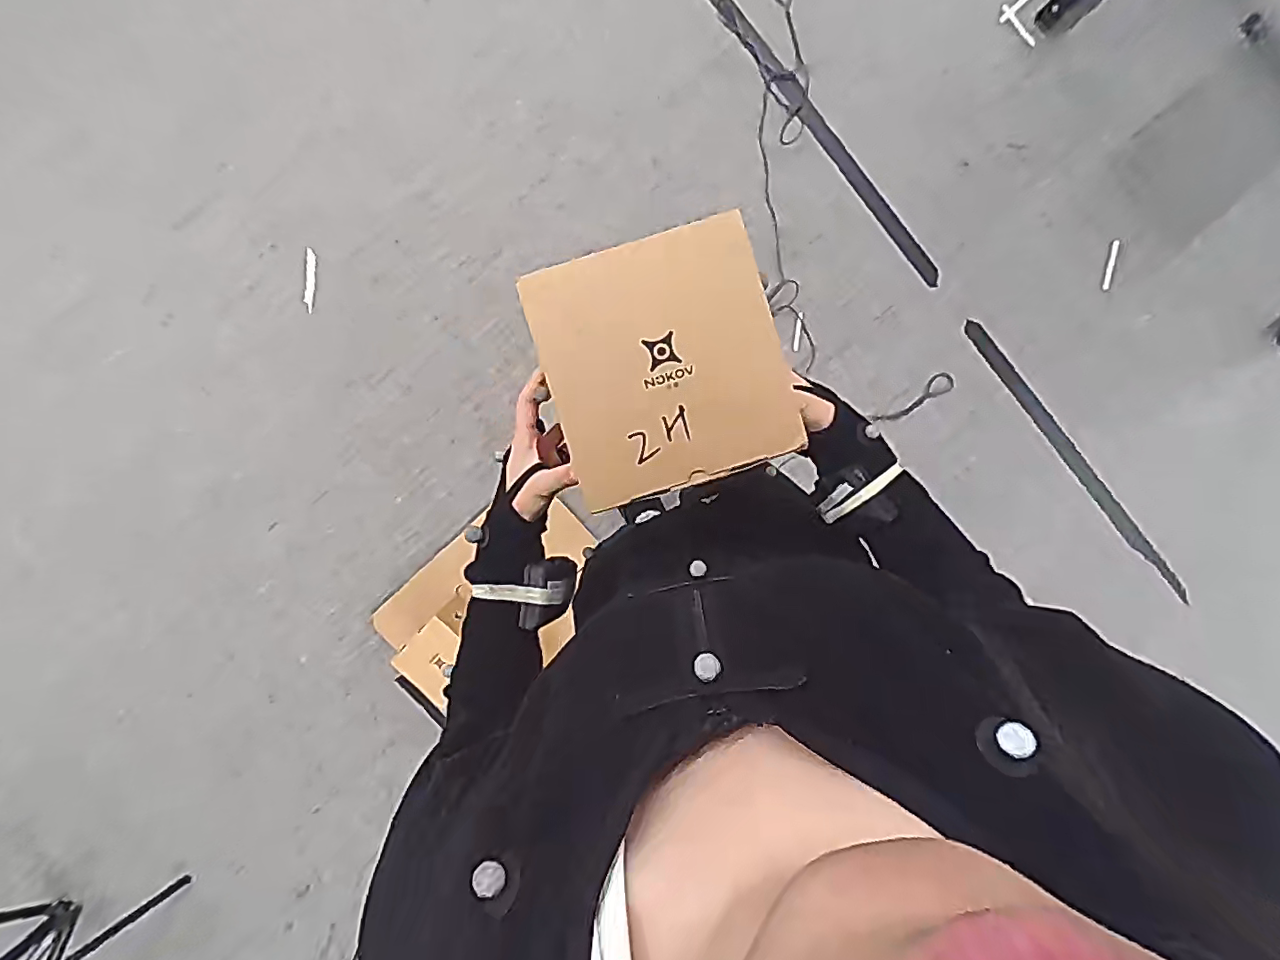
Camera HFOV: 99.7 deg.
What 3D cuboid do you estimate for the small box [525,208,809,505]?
[{"bbox_3d":[0.017,-0.089,0.458,0.168,0.176,0.179,-17,93,0],"label":"small box"}]

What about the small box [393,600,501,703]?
[{"bbox_3d":[-0.492,0.432,1.404,0.179,0.176,0.168,43,92,-4],"label":"small box"}]
